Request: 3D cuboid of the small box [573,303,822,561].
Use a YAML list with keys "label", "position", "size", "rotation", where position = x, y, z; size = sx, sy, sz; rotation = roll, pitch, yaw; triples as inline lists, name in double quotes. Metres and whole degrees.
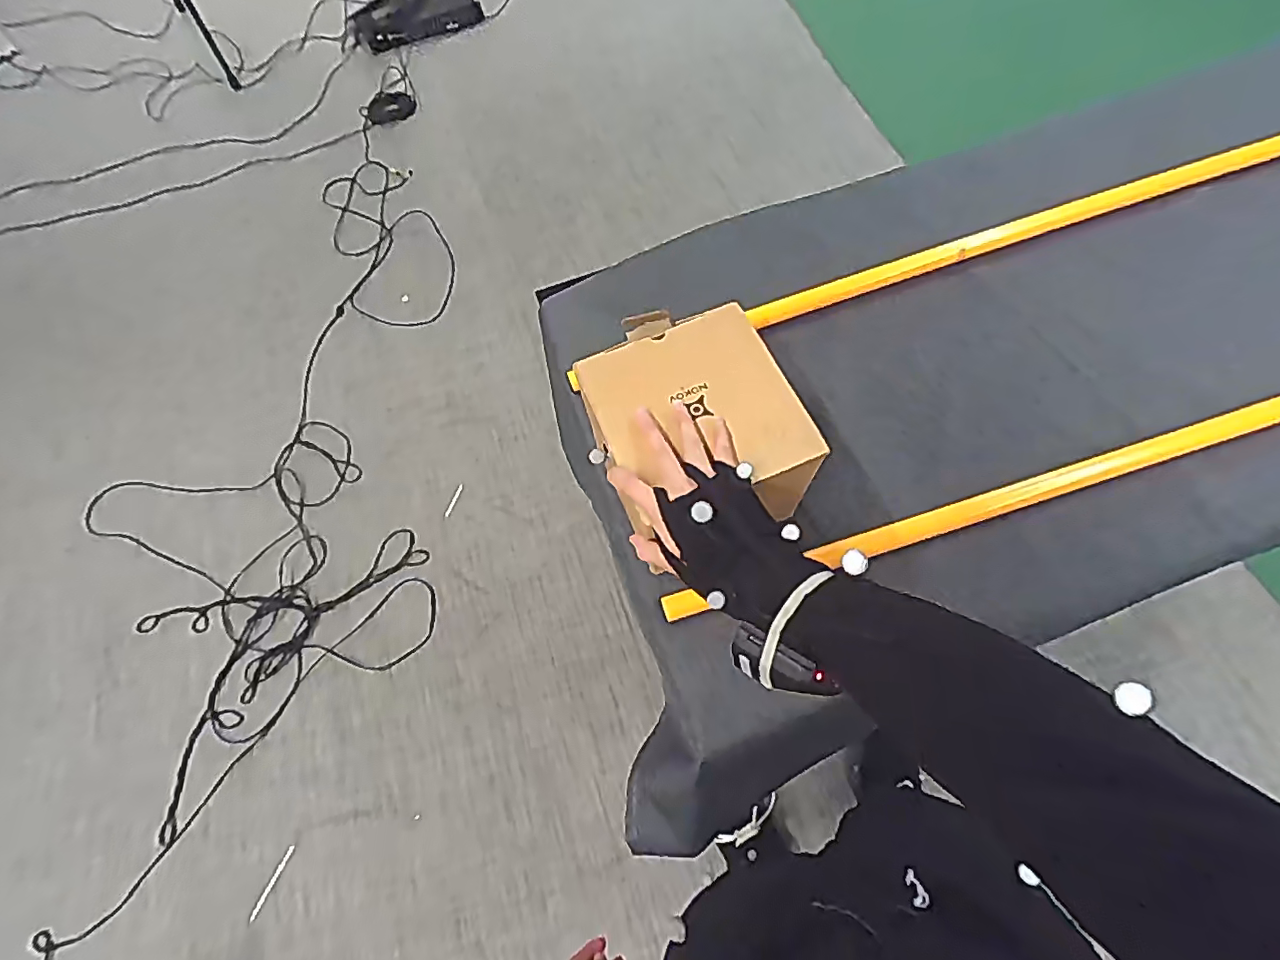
- label: "small box"
  position: [0.051, -0.033, 0.539]
  size: [0.168, 0.176, 0.179]
  rotation: [-23, 66, -5]
